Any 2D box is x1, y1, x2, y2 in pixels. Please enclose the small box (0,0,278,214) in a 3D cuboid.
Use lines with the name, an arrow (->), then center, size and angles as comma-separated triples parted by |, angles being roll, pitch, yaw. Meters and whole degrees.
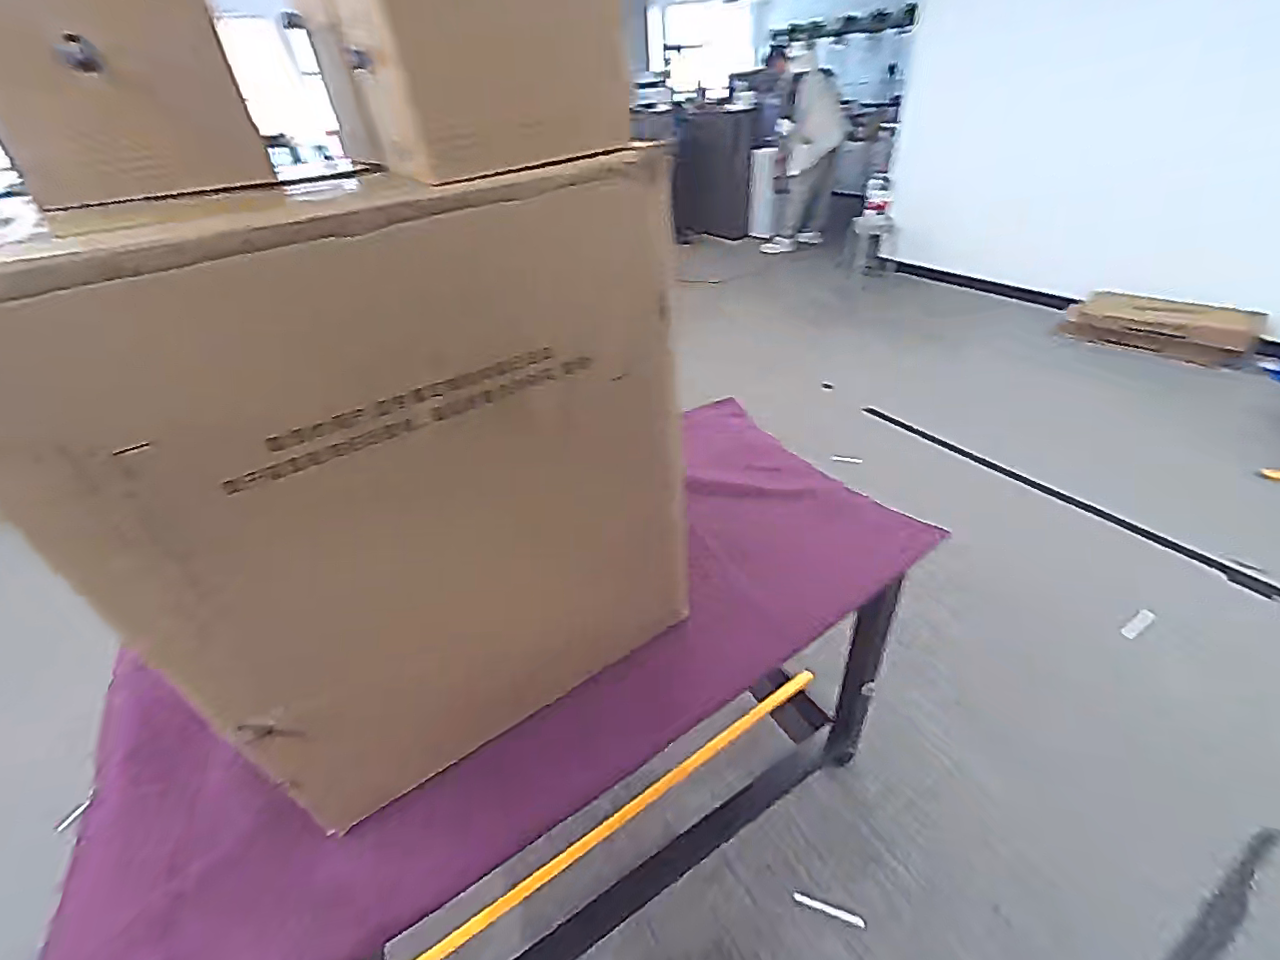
small box -> -0.429, -0.334, 0.447 | 0.179, 0.176, 0.168 | -23, 38, -20
